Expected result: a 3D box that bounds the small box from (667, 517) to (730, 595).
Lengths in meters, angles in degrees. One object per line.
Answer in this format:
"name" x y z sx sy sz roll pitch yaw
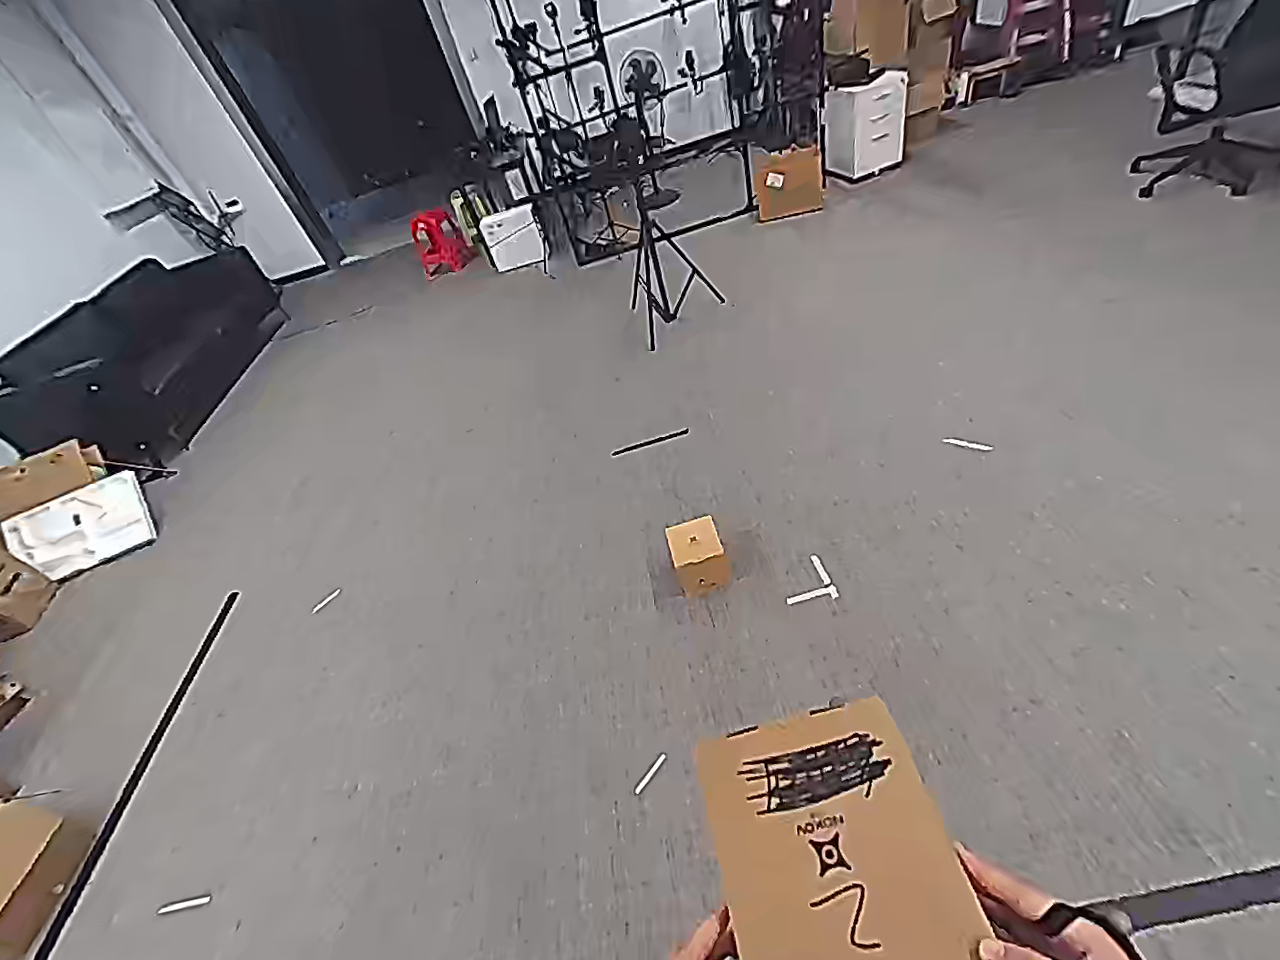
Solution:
"small box" 0.198 0.259 1.835 0.168 0.176 0.179 -17 42 2
